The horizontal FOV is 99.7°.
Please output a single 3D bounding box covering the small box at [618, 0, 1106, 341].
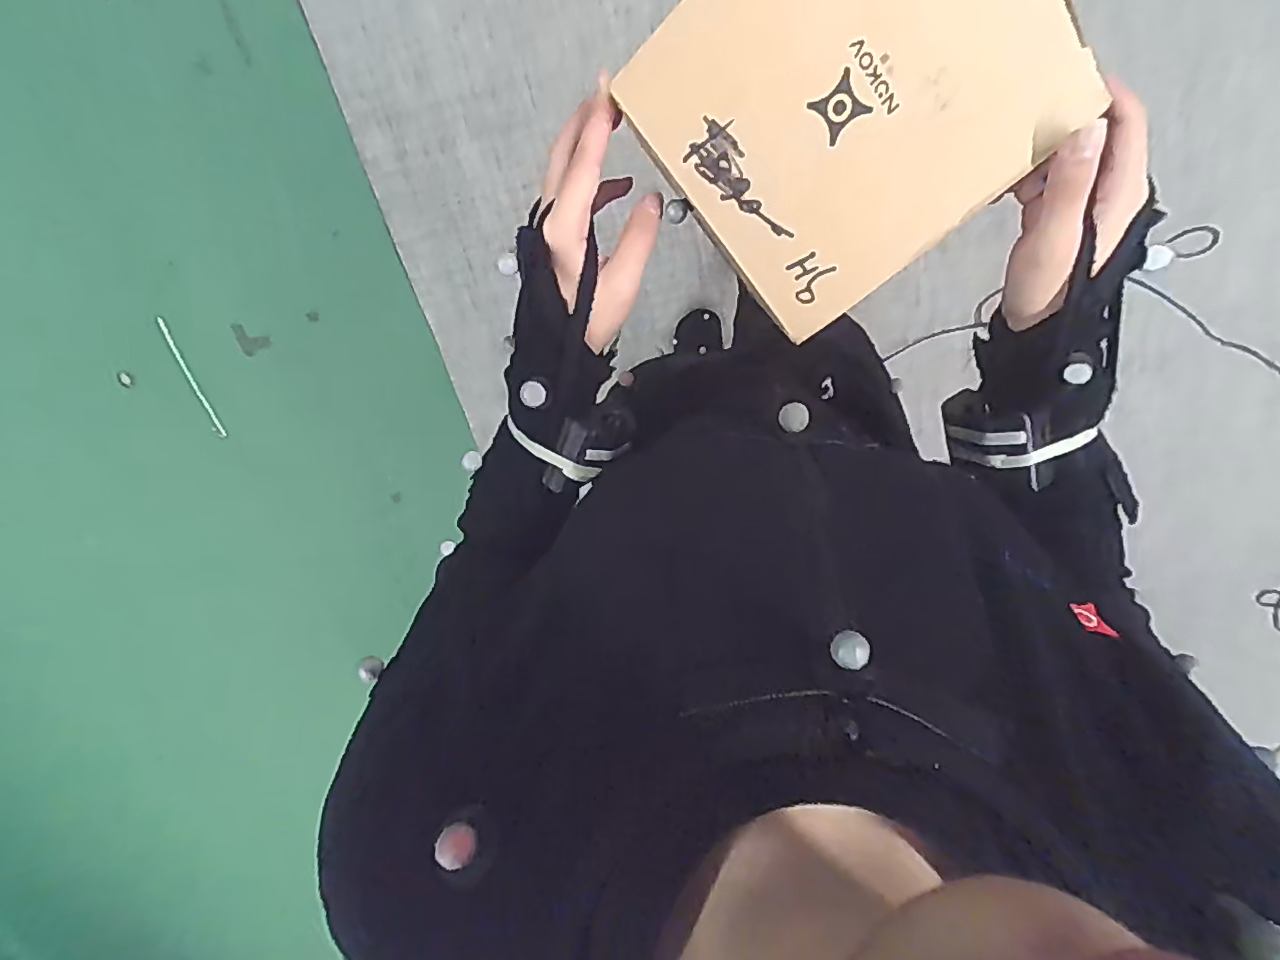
[{"bbox_3d":[0.106,-0.219,0.326,0.179,0.176,0.168,-37,109,20],"label":"small box"}]
